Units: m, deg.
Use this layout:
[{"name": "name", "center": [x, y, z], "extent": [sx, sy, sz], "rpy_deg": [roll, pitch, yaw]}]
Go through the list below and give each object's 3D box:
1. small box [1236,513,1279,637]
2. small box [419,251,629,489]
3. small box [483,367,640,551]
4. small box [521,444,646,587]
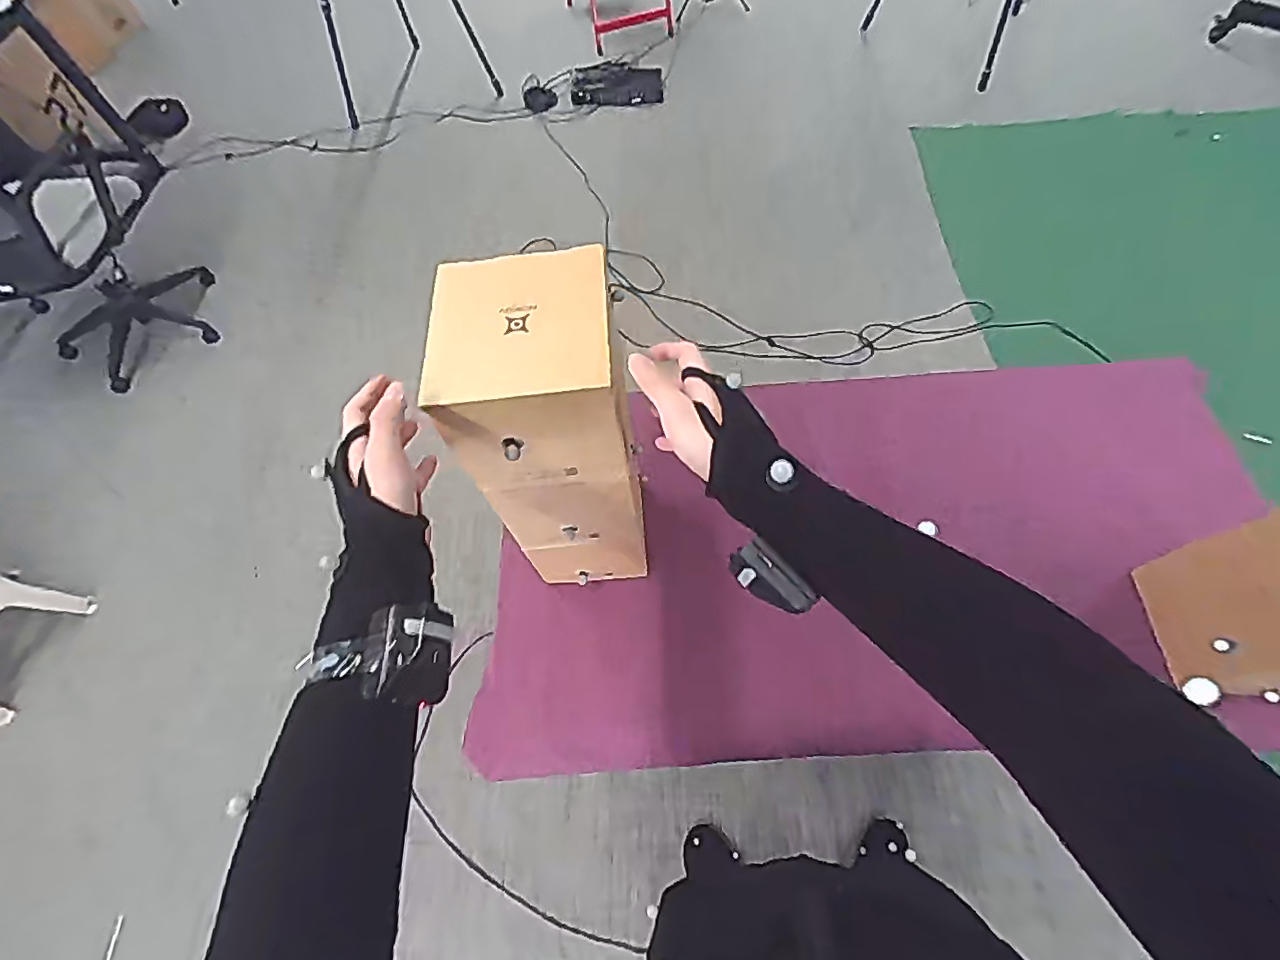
[{"name": "small box", "center": [0.799, 0.102, 0.555], "extent": [0.168, 0.176, 0.179], "rpy_deg": [0, 60, 7]}, {"name": "small box", "center": [-0.105, -0.101, 0.559], "extent": [0.168, 0.176, 0.179], "rpy_deg": [-6, 61, 2]}, {"name": "small box", "center": [-0.092, -0.024, 0.702], "extent": [0.168, 0.176, 0.179], "rpy_deg": [-6, 62, 2]}, {"name": "small box", "center": [-0.081, 0.055, 0.845], "extent": [0.168, 0.176, 0.179], "rpy_deg": [-5, 62, 2]}]
